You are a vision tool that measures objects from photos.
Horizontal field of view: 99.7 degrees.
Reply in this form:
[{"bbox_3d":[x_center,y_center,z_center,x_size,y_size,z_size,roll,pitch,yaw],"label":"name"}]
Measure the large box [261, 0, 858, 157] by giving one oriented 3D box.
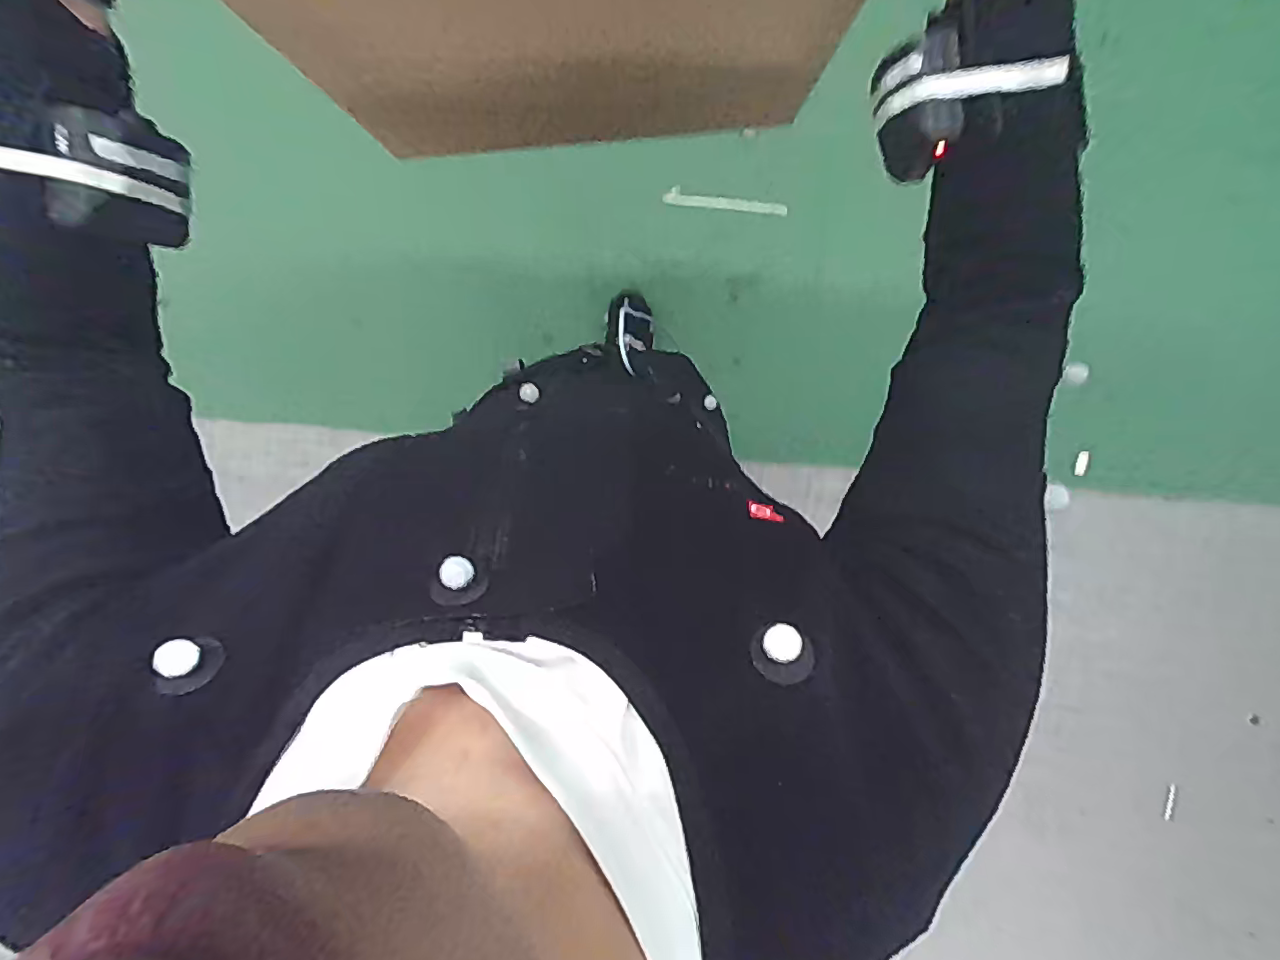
[{"bbox_3d":[-0.055,-0.470,0.380,0.408,0.320,0.320,-5,101,0],"label":"large box"}]
